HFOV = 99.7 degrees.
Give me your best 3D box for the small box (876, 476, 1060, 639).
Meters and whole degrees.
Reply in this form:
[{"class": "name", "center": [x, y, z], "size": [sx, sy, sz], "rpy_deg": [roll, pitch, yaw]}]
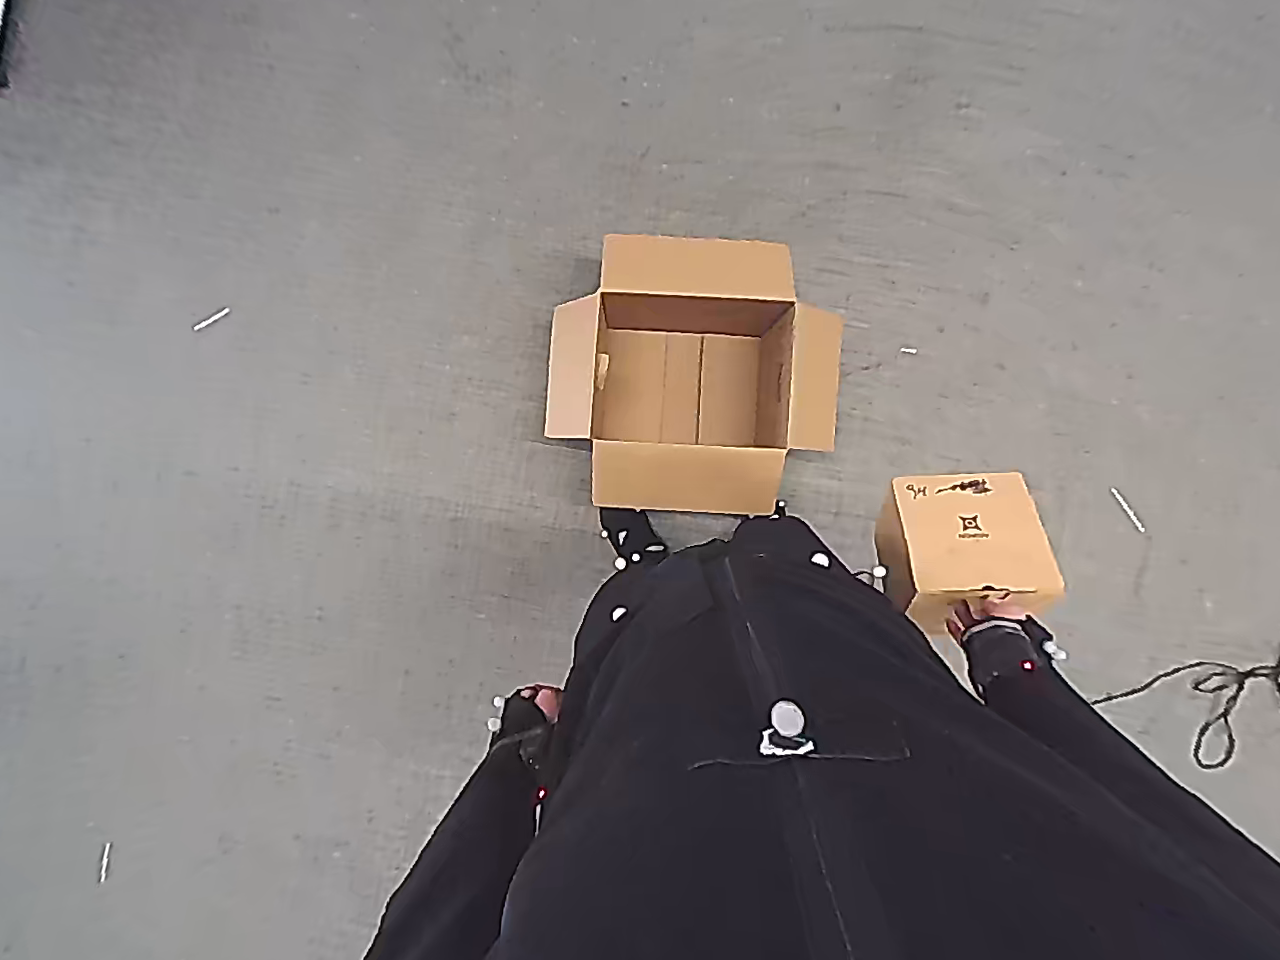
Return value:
[{"class": "small box", "center": [0.441, 0.115, 0.763], "size": [0.168, 0.176, 0.179], "rpy_deg": [-2, 54, 12]}]
